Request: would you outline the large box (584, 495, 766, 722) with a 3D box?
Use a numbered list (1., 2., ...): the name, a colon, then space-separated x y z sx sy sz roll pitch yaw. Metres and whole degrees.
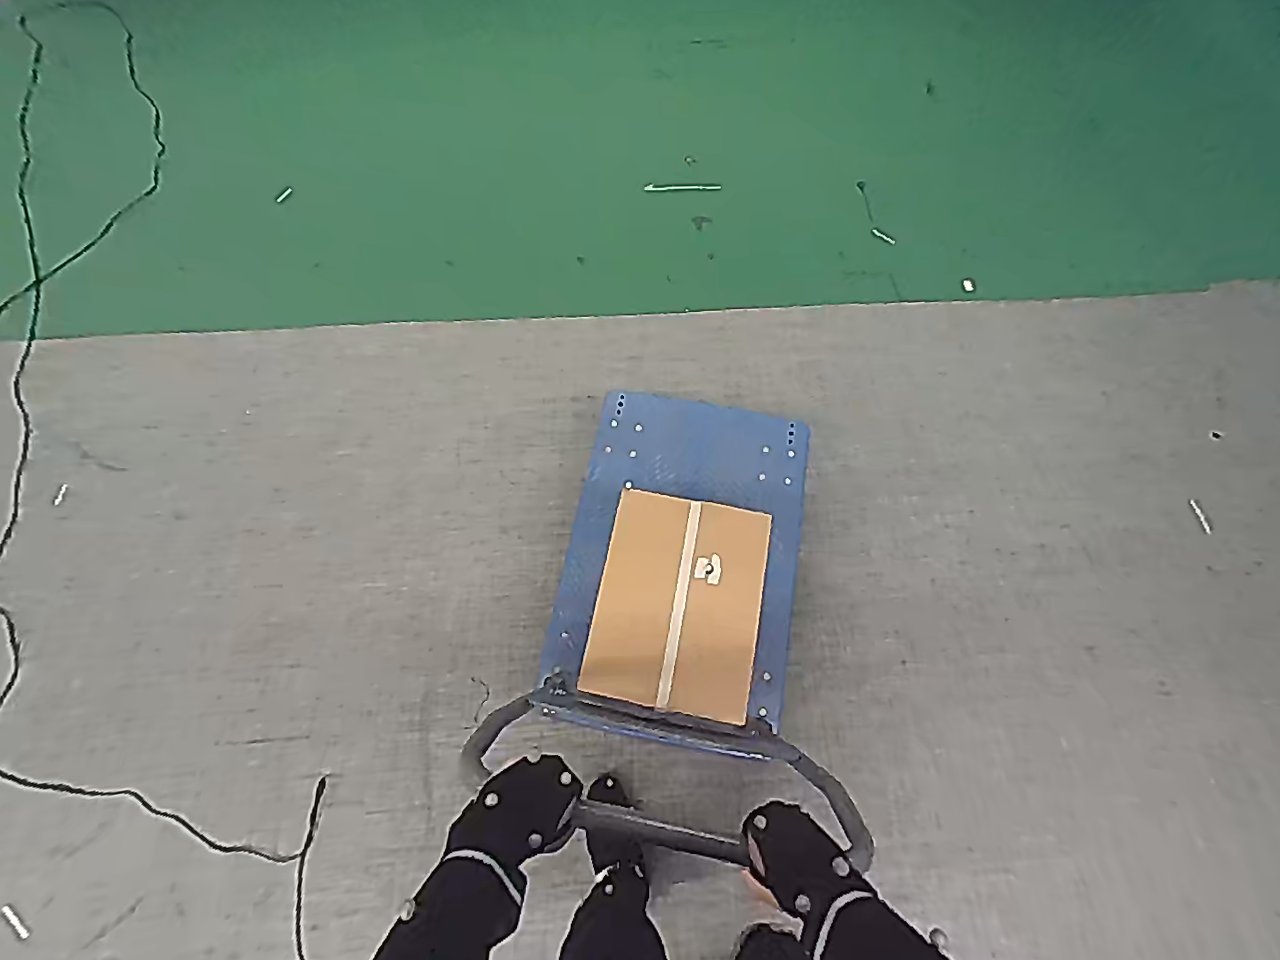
1. large box: 0.081 0.293 1.203 0.320 0.320 0.408 10 69 4
